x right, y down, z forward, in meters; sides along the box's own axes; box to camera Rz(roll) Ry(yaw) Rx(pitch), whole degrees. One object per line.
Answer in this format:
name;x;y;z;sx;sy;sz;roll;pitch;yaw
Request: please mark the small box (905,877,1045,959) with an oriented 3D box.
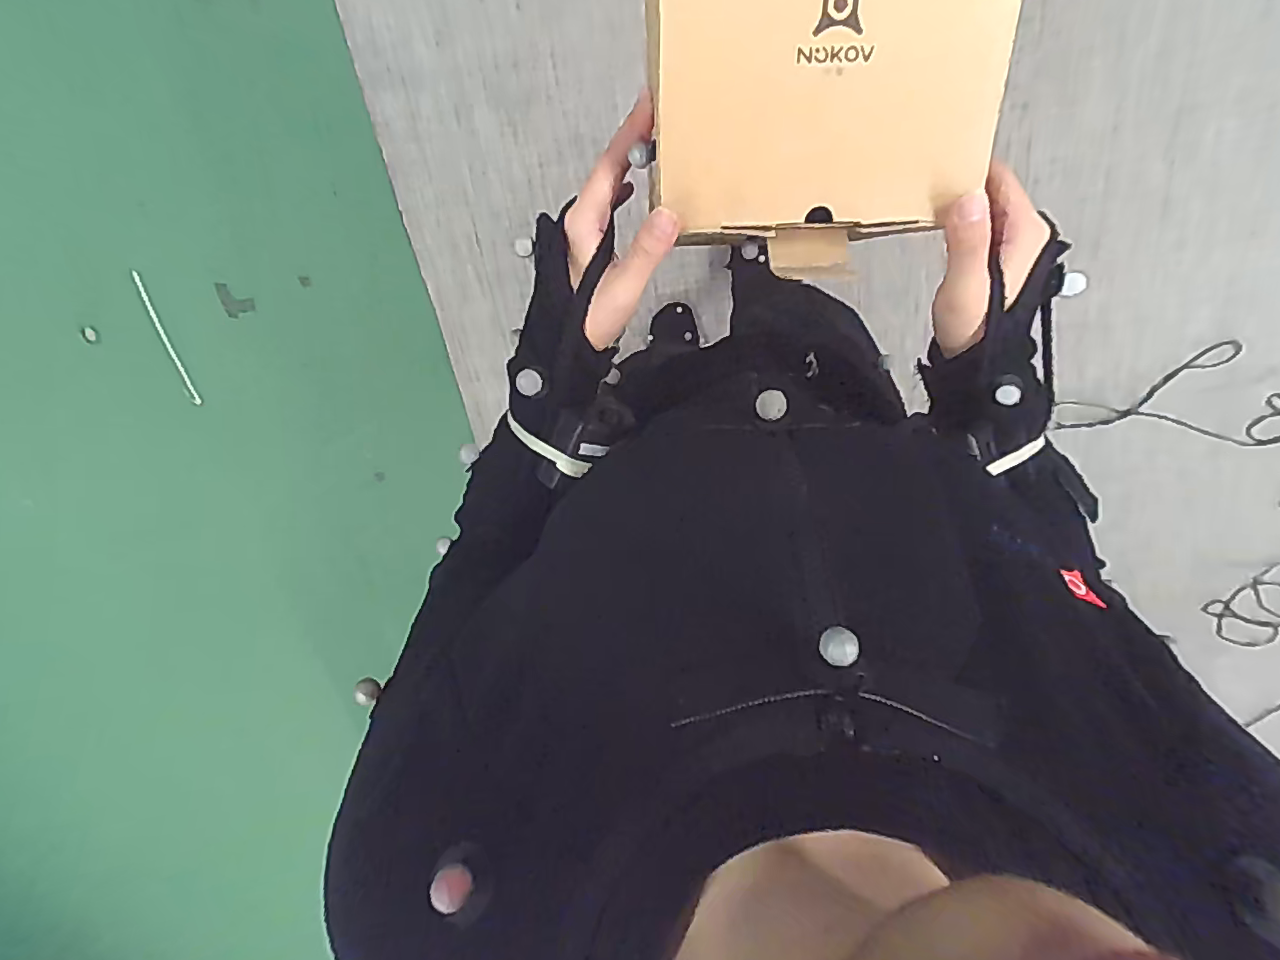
small box;0.560;0.796;0.882;0.168;0.176;0.179;-18;111;8
